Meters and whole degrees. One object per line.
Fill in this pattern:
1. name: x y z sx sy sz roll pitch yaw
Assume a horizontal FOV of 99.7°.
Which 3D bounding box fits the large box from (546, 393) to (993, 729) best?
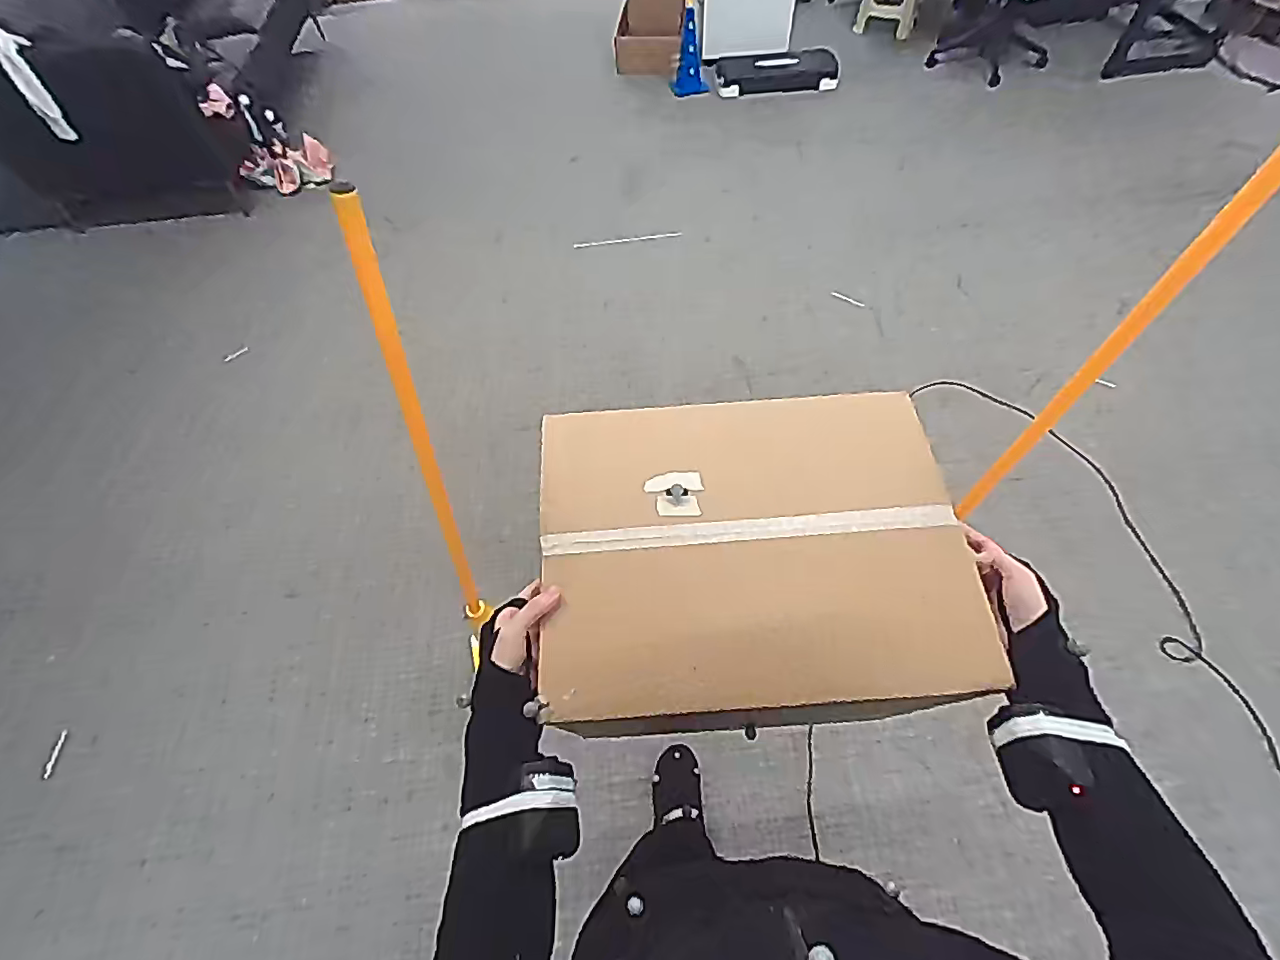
1. large box: 0.112 0.122 0.674 0.408 0.320 0.320 -5 62 1
